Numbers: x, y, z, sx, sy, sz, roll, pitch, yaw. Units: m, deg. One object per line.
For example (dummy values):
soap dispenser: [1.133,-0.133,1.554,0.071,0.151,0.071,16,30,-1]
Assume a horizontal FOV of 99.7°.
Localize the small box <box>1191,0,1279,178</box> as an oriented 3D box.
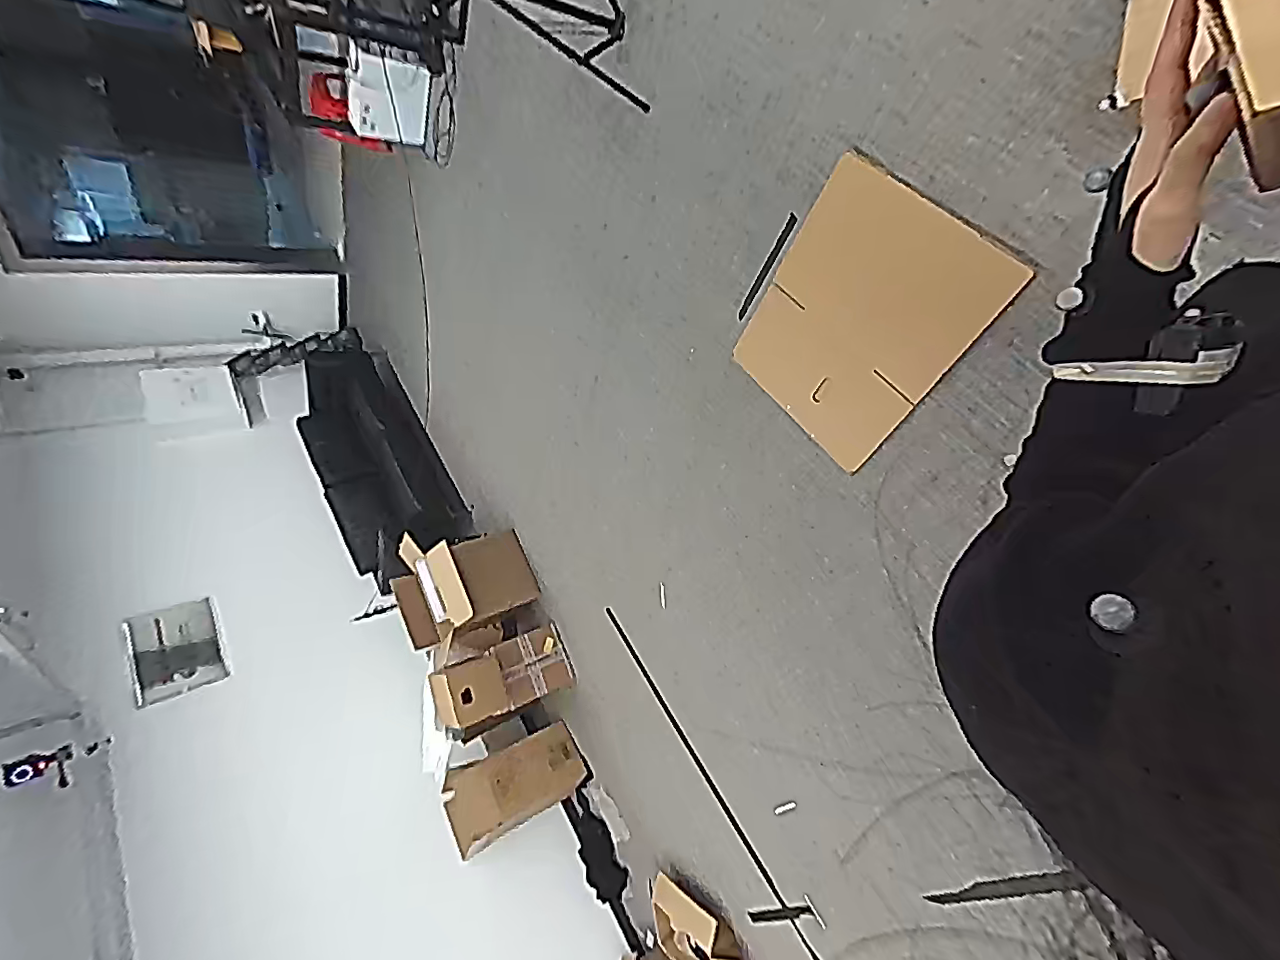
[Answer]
small box: [0.348,-0.258,0.217,0.179,0.176,0.168,-18,85,50]
